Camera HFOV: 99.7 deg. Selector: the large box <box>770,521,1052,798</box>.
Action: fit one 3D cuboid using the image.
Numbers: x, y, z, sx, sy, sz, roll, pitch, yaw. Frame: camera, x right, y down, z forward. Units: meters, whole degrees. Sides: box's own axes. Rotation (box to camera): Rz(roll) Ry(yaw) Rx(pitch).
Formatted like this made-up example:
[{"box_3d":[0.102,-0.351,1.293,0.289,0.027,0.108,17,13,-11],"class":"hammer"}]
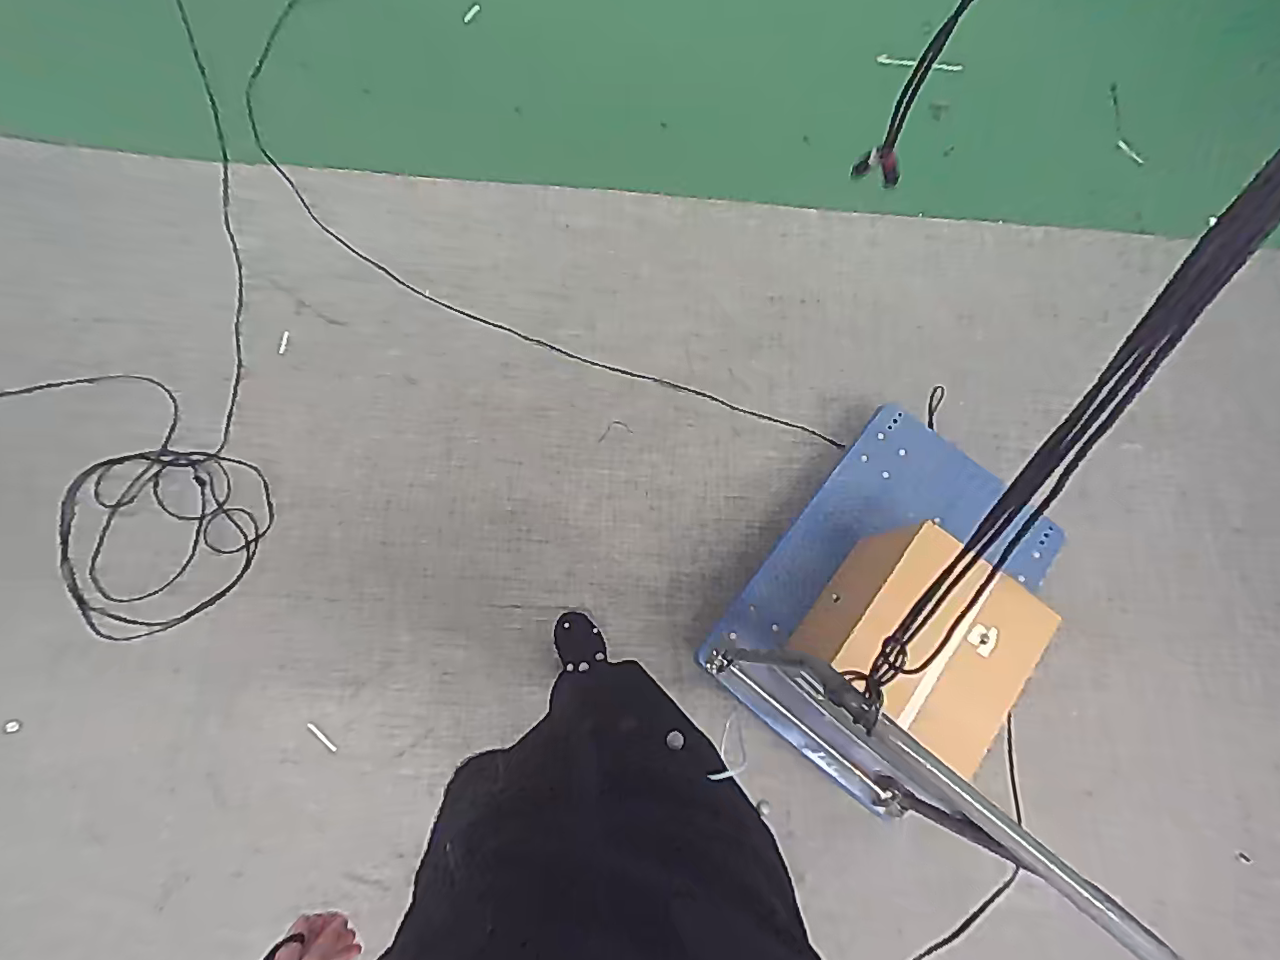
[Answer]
[{"box_3d":[0.546,0.360,1.153,0.320,0.320,0.408,39,76,6],"class":"large box"}]
